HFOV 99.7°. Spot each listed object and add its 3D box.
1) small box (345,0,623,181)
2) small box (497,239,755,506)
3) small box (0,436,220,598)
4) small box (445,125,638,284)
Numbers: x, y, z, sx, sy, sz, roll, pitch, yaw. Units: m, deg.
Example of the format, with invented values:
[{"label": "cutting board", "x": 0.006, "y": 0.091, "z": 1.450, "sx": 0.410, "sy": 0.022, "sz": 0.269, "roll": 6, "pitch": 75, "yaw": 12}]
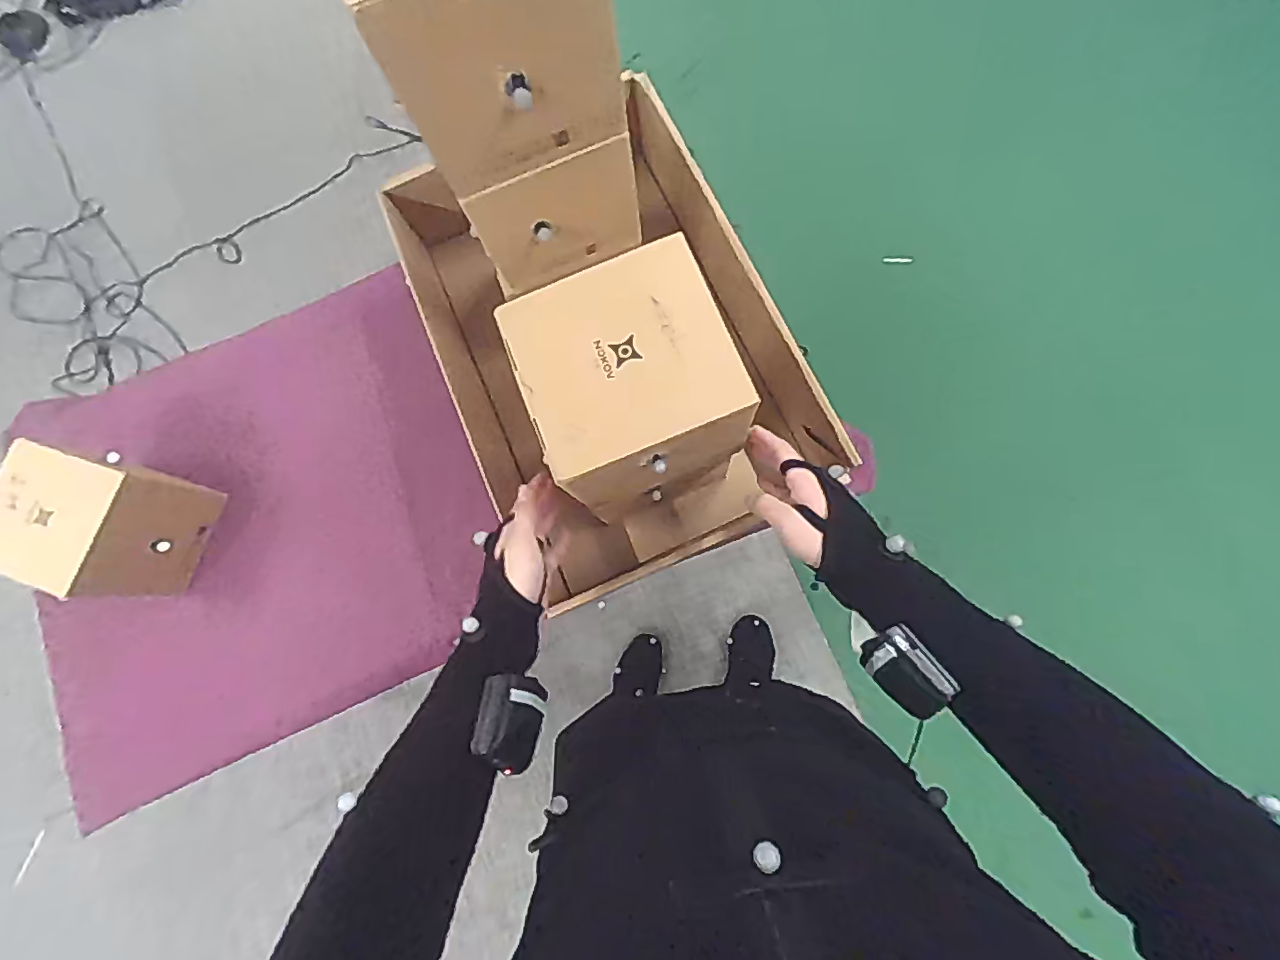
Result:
[{"label": "small box", "x": -0.121, "y": -0.368, "z": 0.415, "sx": 0.168, "sy": 0.176, "sz": 0.179, "roll": -22, "pitch": 80, "yaw": 0}, {"label": "small box", "x": -0.008, "y": -0.085, "z": 0.518, "sx": 0.179, "sy": 0.176, "sz": 0.168, "roll": -21, "pitch": 79, "yaw": 1}, {"label": "small box", "x": -0.753, "y": 0.058, "z": 0.759, "sx": 0.179, "sy": 0.176, "sz": 0.168, "roll": 17, "pitch": 80, "yaw": 7}, {"label": "small box", "x": -0.109, "y": -0.336, "z": 0.576, "sx": 0.168, "sy": 0.176, "sz": 0.179, "roll": -22, "pitch": 79, "yaw": 0}]
